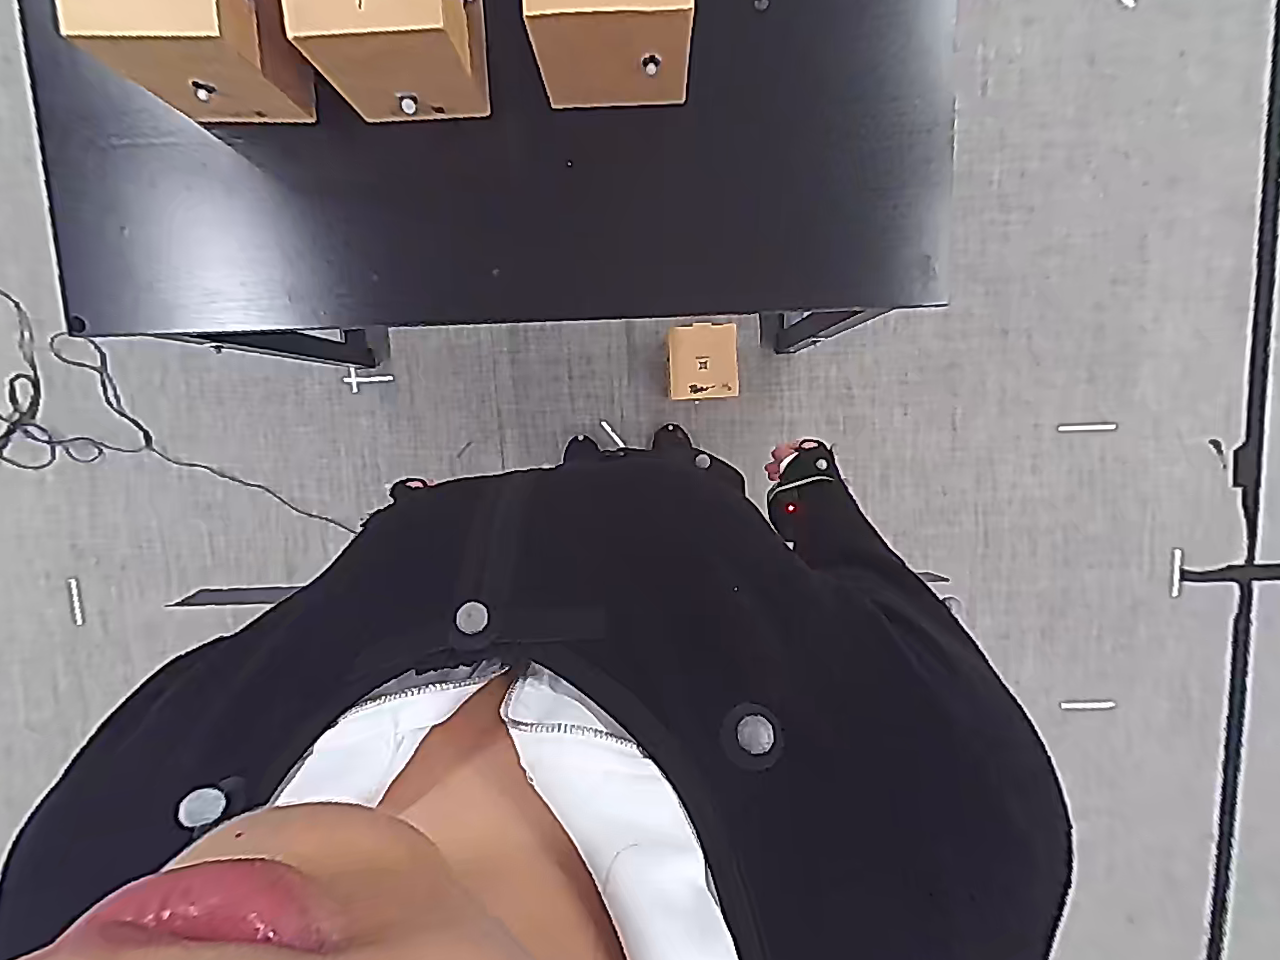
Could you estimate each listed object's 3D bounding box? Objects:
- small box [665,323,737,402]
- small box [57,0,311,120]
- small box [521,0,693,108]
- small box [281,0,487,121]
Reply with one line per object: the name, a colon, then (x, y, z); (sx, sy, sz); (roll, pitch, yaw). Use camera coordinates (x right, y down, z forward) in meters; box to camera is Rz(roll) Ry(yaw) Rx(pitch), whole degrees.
small box: (0.150, -0.292, 1.376); (0.168, 0.176, 0.179); (-3, 96, 2)
small box: (-0.507, -0.547, 0.622); (0.168, 0.176, 0.179); (1, 96, 0)
small box: (-0.035, -0.559, 0.617); (0.179, 0.176, 0.168); (-2, 95, 2)
small box: (-0.283, -0.550, 0.619); (0.168, 0.176, 0.179); (-2, 97, 1)
